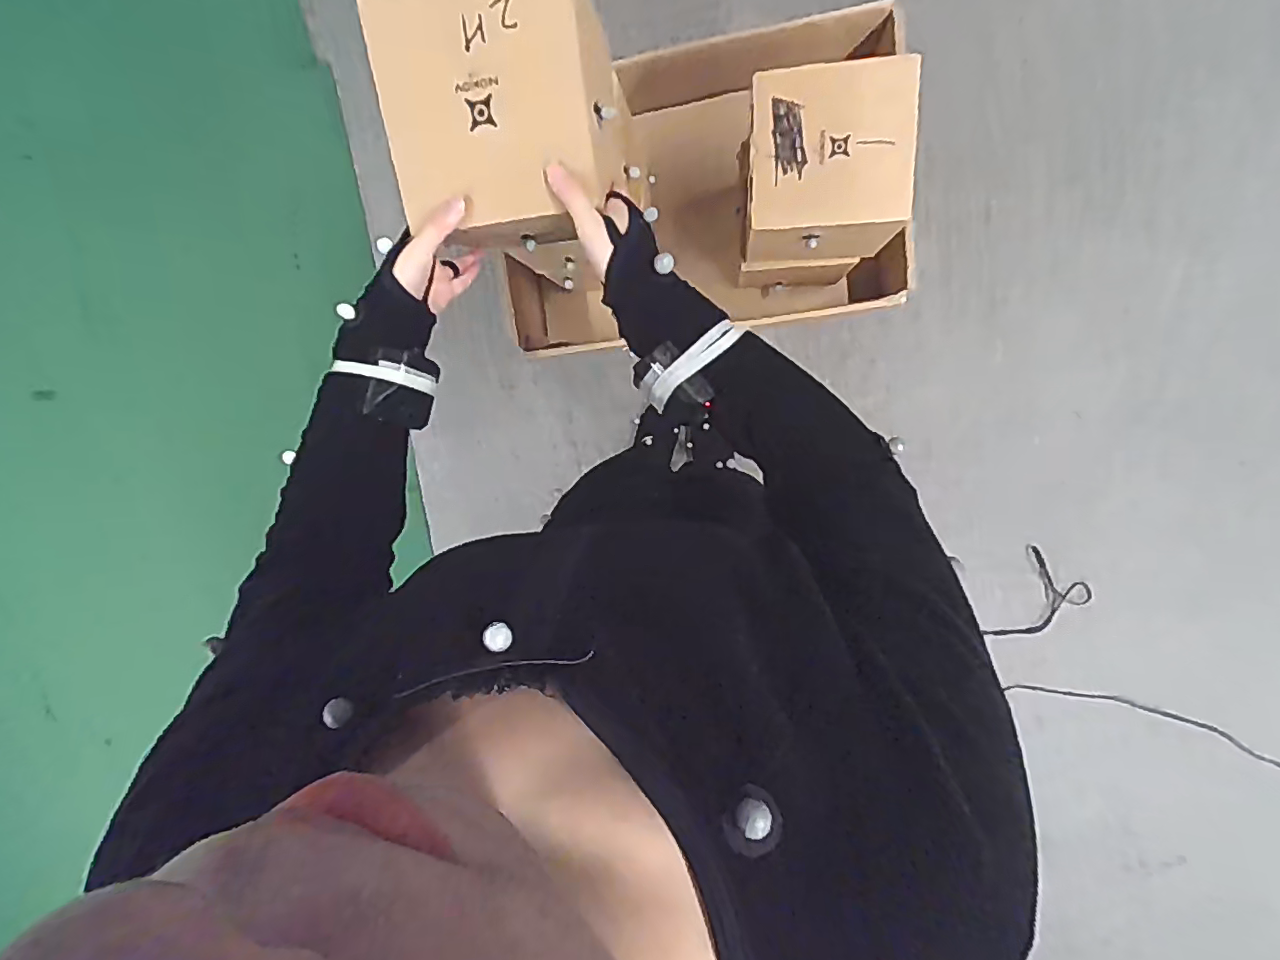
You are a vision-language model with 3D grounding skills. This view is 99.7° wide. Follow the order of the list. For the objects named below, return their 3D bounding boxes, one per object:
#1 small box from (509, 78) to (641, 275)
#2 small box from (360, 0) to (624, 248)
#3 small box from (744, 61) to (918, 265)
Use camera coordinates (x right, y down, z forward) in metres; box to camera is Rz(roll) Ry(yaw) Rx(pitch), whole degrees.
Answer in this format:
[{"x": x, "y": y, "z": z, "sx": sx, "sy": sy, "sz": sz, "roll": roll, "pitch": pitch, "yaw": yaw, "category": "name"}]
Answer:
[{"x": -0.093, "y": -0.385, "z": 0.717, "sx": 0.168, "sy": 0.176, "sz": 0.179, "roll": -1, "pitch": 99, "yaw": 9, "category": "small box"}, {"x": -0.113, "y": -0.318, "z": 0.497, "sx": 0.168, "sy": 0.176, "sz": 0.179, "roll": -4, "pitch": 107, "yaw": 9, "category": "small box"}, {"x": 0.220, "y": -0.371, "z": 0.669, "sx": 0.179, "sy": 0.176, "sz": 0.168, "roll": 1, "pitch": 99, "yaw": 9, "category": "small box"}]
